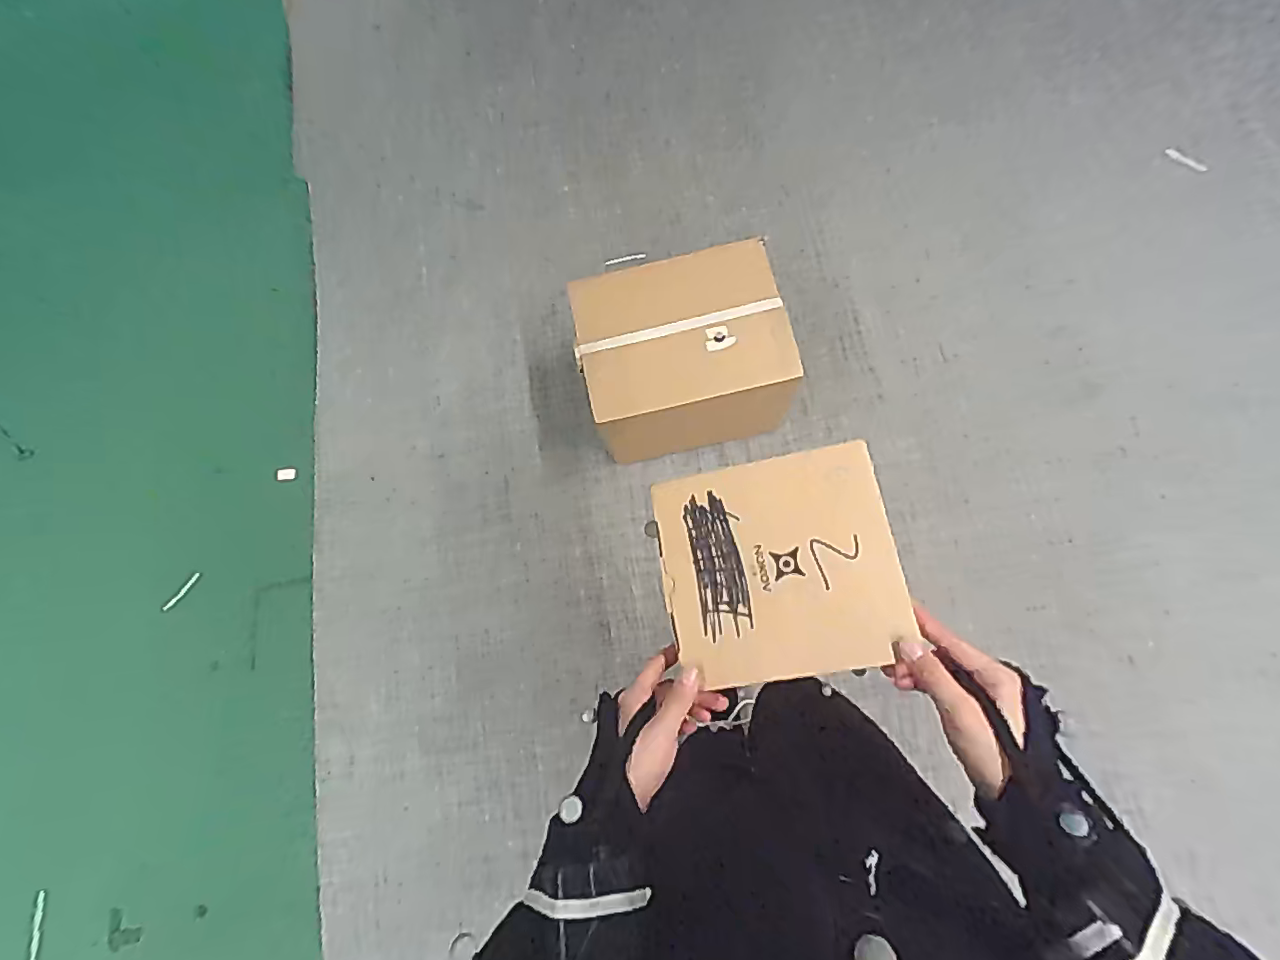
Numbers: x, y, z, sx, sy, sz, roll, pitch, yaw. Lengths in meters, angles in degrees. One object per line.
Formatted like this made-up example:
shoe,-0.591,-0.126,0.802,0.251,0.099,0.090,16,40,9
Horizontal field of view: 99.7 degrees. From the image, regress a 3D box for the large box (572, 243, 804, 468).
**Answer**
large box,0.096,-0.251,1.196,0.408,0.320,0.320,-13,76,2
